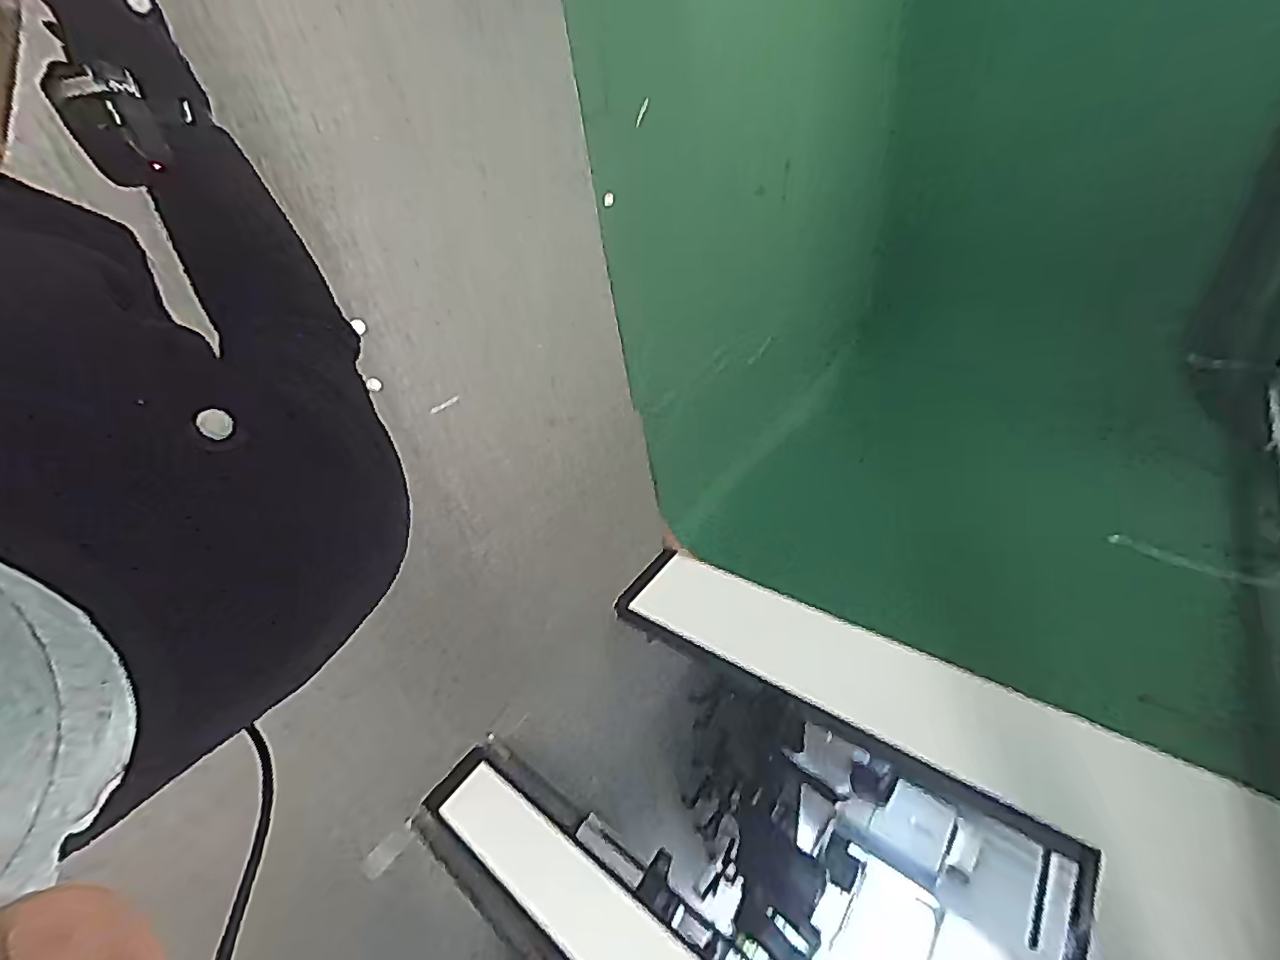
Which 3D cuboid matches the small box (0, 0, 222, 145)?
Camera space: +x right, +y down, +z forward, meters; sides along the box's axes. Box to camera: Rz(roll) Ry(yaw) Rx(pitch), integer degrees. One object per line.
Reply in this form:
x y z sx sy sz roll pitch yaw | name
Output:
-0.376 -0.352 0.304 0.176 0.168 0.179 -43 166 11 | small box
